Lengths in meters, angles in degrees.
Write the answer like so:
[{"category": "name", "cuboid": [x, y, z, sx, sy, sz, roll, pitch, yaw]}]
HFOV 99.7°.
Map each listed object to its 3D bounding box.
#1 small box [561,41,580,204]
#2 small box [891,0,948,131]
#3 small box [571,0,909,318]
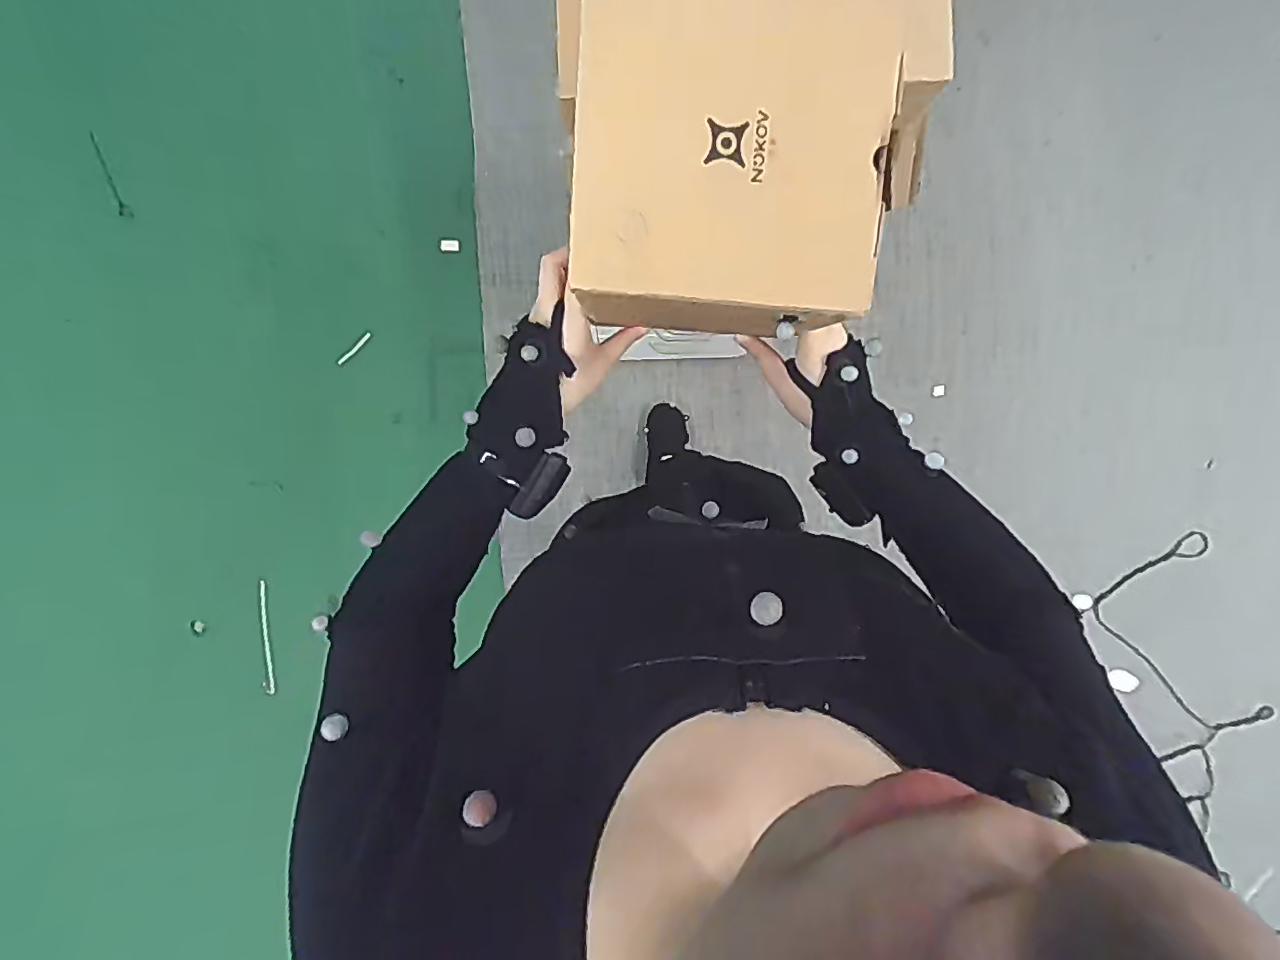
[{"category": "small box", "cuboid": [-0.017, -0.489, 0.783, 0.179, 0.176, 0.168, -2, 94, -4]}, {"category": "small box", "cuboid": [0.230, -0.503, 0.630, 0.168, 0.176, 0.179, -4, 94, -2]}, {"category": "small box", "cuboid": [0.049, -0.210, 0.374, 0.179, 0.176, 0.168, 3, 100, -4]}]
